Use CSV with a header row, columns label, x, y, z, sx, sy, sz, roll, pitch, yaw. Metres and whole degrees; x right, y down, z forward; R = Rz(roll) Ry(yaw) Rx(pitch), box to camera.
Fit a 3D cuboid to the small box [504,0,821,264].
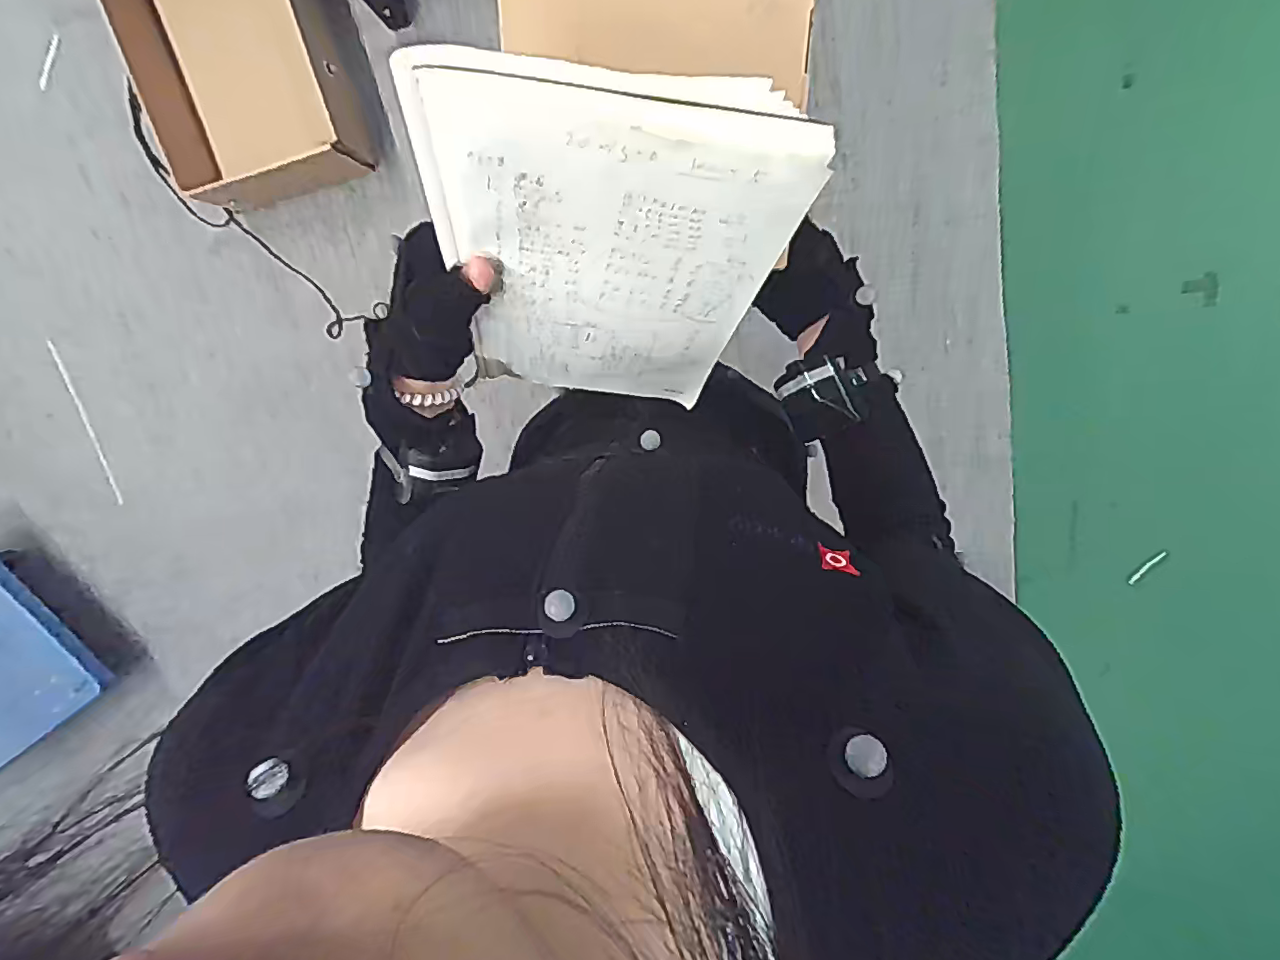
label,x,y,z,sx,sy,sz,roll,pitch,yaw
small box,0.006,-0.246,0.385,0.179,0.176,0.168,1,111,-3
